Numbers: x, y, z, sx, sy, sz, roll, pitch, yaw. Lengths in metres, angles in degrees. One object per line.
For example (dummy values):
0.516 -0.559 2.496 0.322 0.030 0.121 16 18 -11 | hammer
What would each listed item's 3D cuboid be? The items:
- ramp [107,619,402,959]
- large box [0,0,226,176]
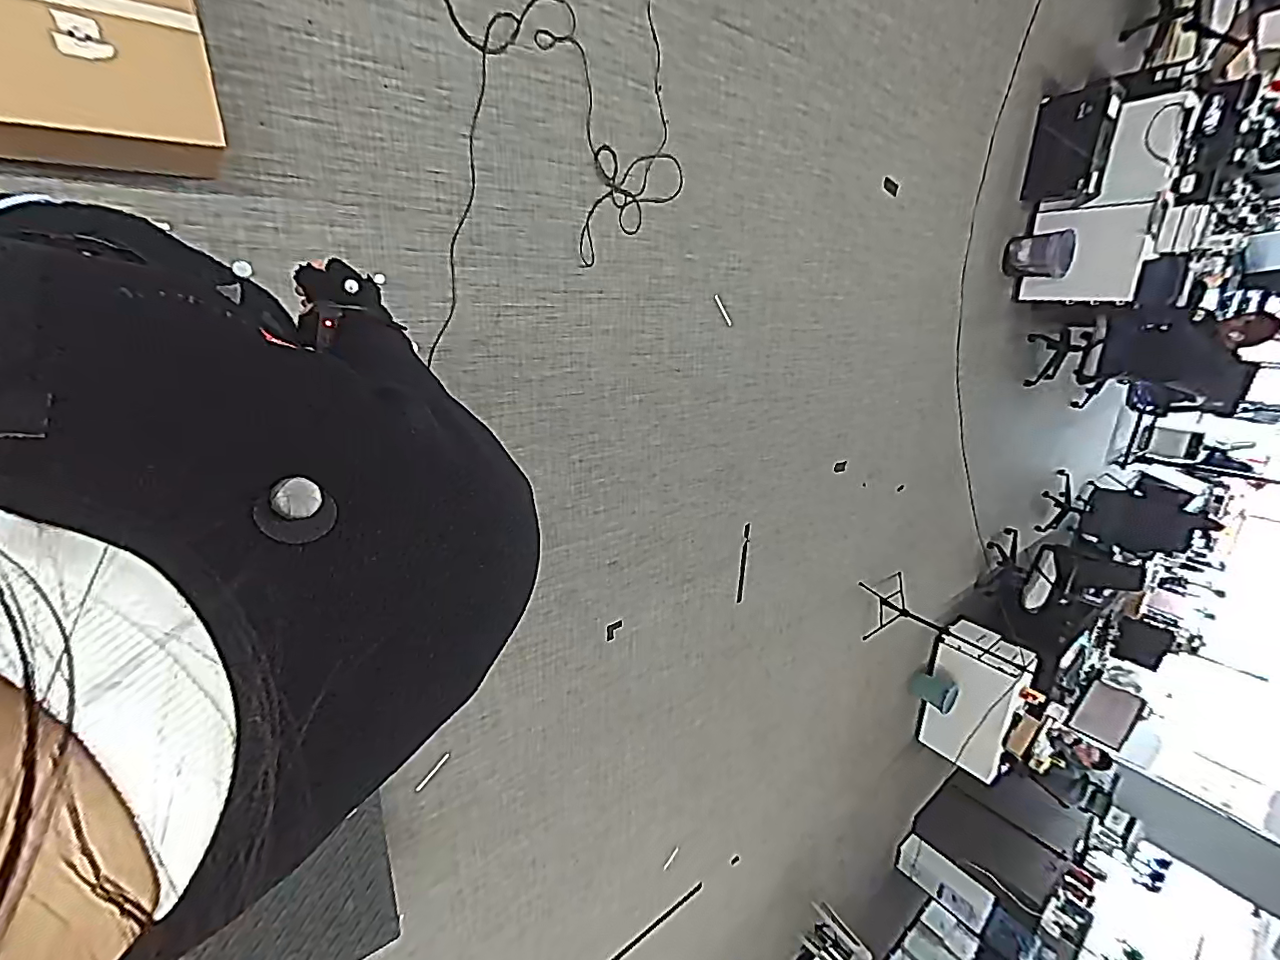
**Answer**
-0.935 0.894 1.387 0.509 0.206 0.991 -12 112 -35 | ramp
-0.901 -0.662 0.795 0.408 0.320 0.320 -15 115 -36 | large box
